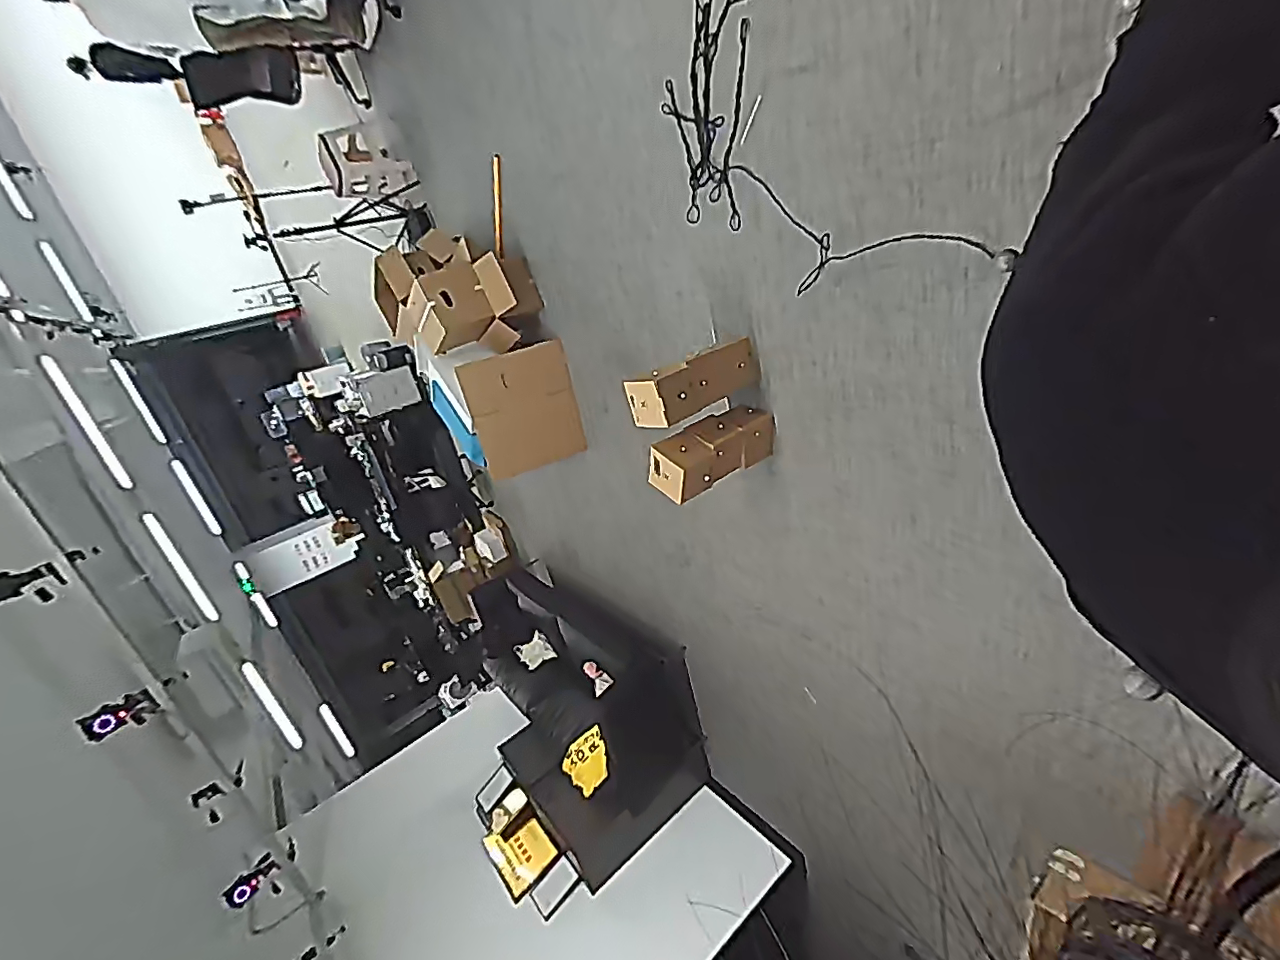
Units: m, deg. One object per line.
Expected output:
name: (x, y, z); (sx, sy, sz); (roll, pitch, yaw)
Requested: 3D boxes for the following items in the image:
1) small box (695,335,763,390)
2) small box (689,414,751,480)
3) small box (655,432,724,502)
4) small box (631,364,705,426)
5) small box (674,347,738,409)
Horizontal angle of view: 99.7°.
small box: (0.342, -0.435, 2.035); (0.179, 0.176, 0.168); (7, 120, 56)
small box: (0.299, -0.124, 2.036); (0.168, 0.176, 0.179); (35, 140, 40)
small box: (0.177, -0.054, 1.950); (0.179, 0.176, 0.168); (38, 142, 36)
small box: (0.104, -0.295, 1.862); (0.179, 0.176, 0.168); (10, 123, 52)
small box: (0.226, -0.360, 1.948); (0.168, 0.176, 0.179); (-1, 114, 57)
